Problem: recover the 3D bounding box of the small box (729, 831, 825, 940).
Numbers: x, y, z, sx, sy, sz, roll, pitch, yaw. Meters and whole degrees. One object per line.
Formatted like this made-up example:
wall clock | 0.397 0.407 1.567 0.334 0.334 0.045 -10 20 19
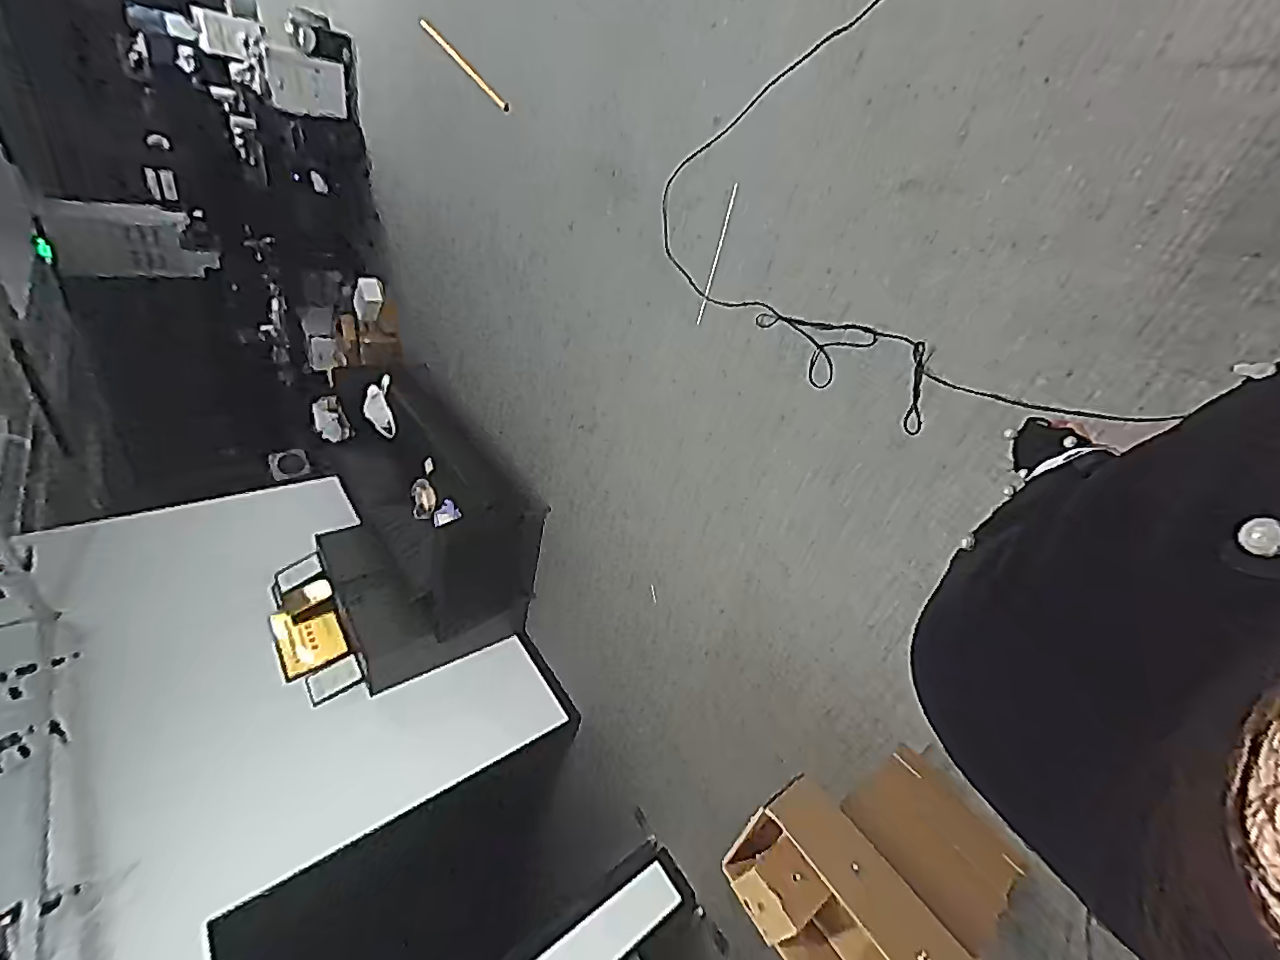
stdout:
small box | 0.388 1.126 1.512 0.168 0.176 0.179 50 136 30
